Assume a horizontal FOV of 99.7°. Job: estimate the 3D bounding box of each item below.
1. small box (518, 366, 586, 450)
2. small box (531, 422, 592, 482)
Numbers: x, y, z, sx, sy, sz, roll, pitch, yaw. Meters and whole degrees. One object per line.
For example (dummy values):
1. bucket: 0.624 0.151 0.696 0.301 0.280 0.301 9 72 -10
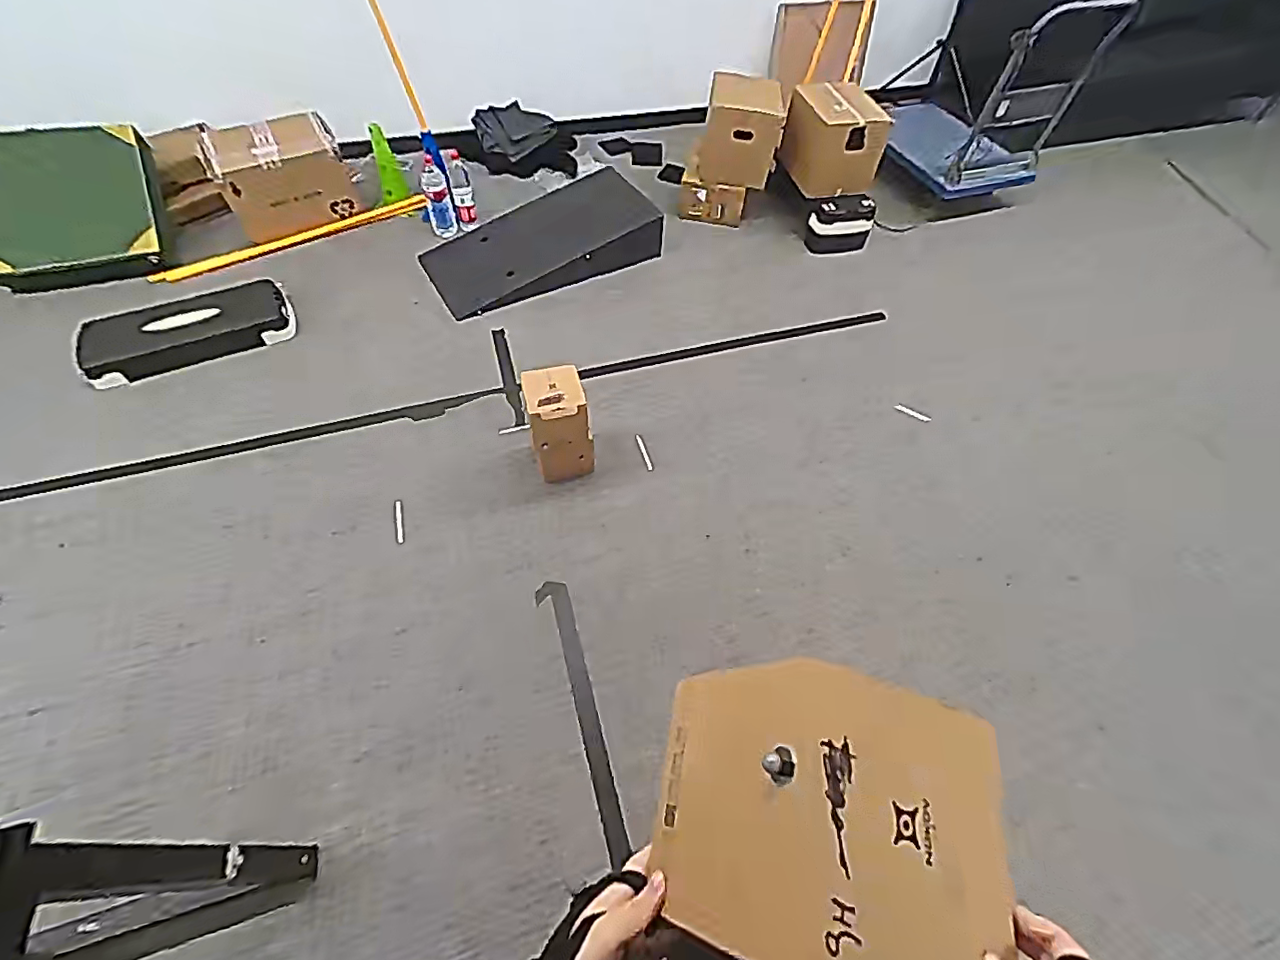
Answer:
1. small box: -0.257 -0.206 1.597 0.168 0.176 0.179 -12 55 -12
2. small box: -0.257 -0.116 1.734 0.179 0.176 0.168 -14 57 -13
